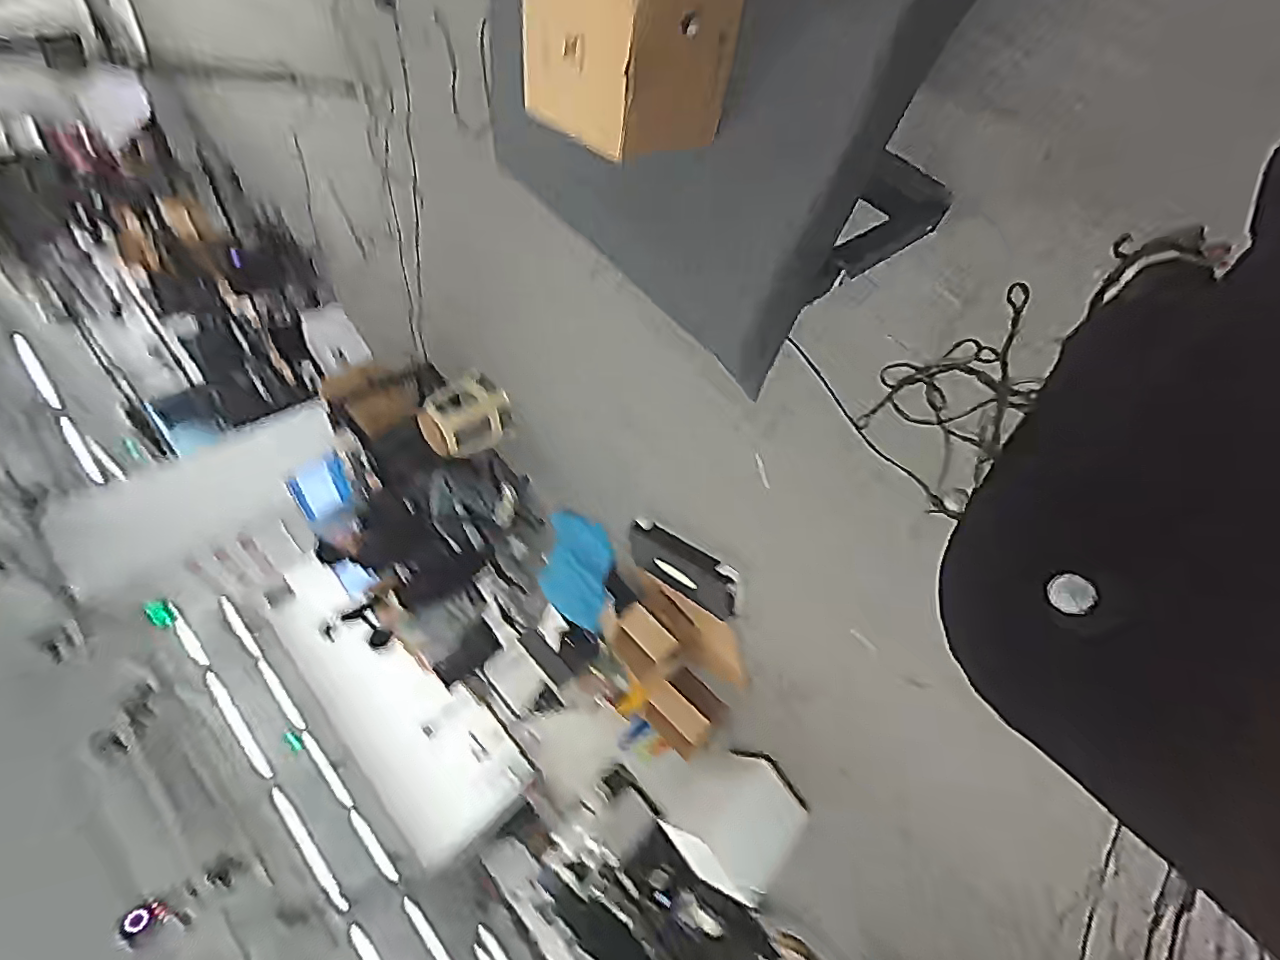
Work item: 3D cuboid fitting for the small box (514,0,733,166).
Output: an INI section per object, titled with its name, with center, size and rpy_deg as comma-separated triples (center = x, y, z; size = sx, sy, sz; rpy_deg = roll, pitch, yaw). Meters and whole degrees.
[small box]
center = -0.021, -0.485, 0.610
size = 0.179, 0.176, 0.168
rpy_deg = 41, 144, 24
